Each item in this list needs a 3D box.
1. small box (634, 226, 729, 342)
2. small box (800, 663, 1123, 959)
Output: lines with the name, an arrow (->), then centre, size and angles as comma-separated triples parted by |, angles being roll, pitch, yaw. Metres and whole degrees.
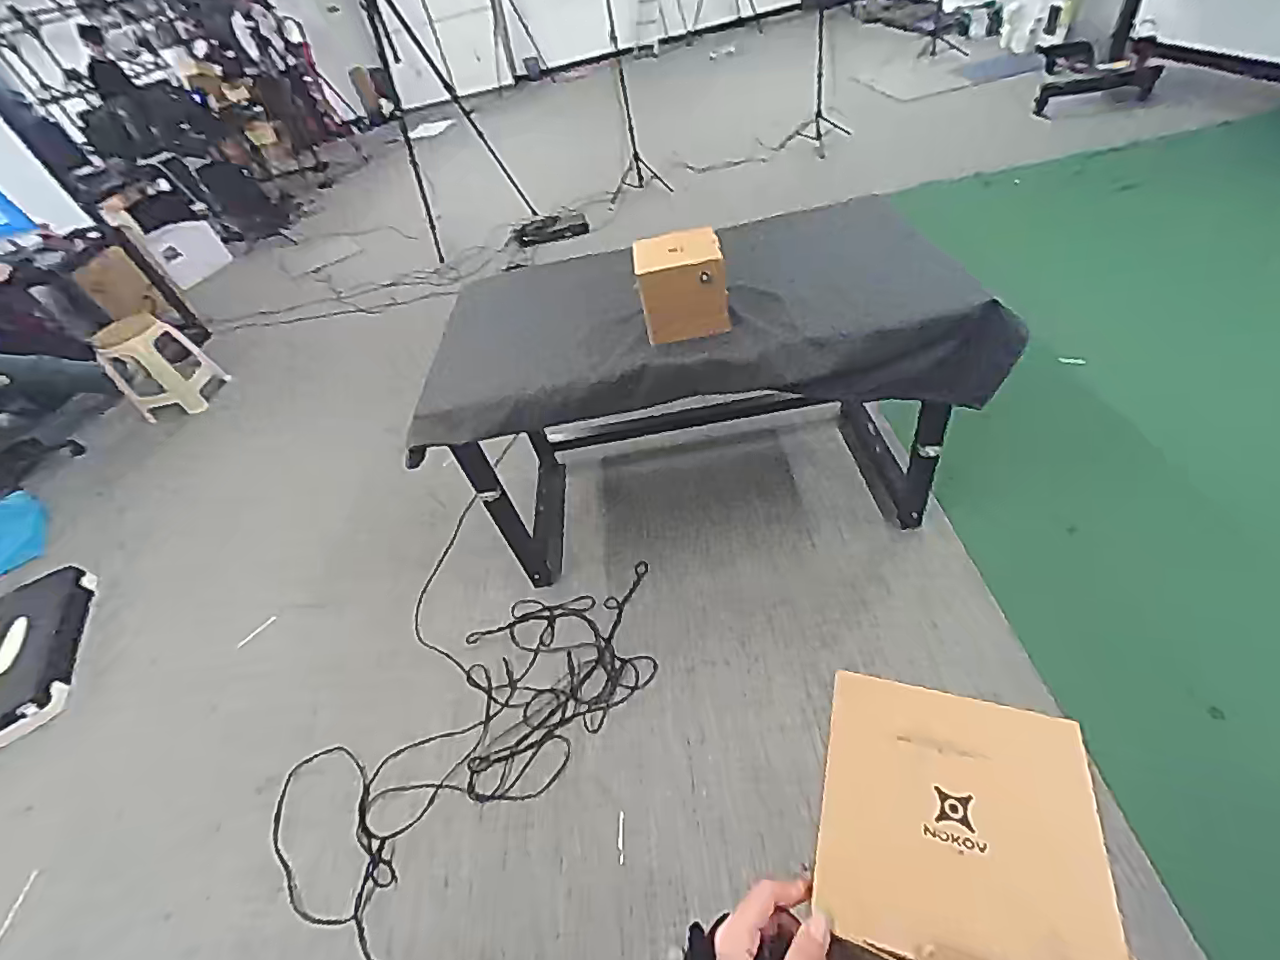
small box -> 0.089, -0.417, 1.165 | 0.179, 0.176, 0.168 | -9, 45, 6
small box -> 0.217, 0.275, 0.409 | 0.168, 0.176, 0.179 | 7, 44, 20
